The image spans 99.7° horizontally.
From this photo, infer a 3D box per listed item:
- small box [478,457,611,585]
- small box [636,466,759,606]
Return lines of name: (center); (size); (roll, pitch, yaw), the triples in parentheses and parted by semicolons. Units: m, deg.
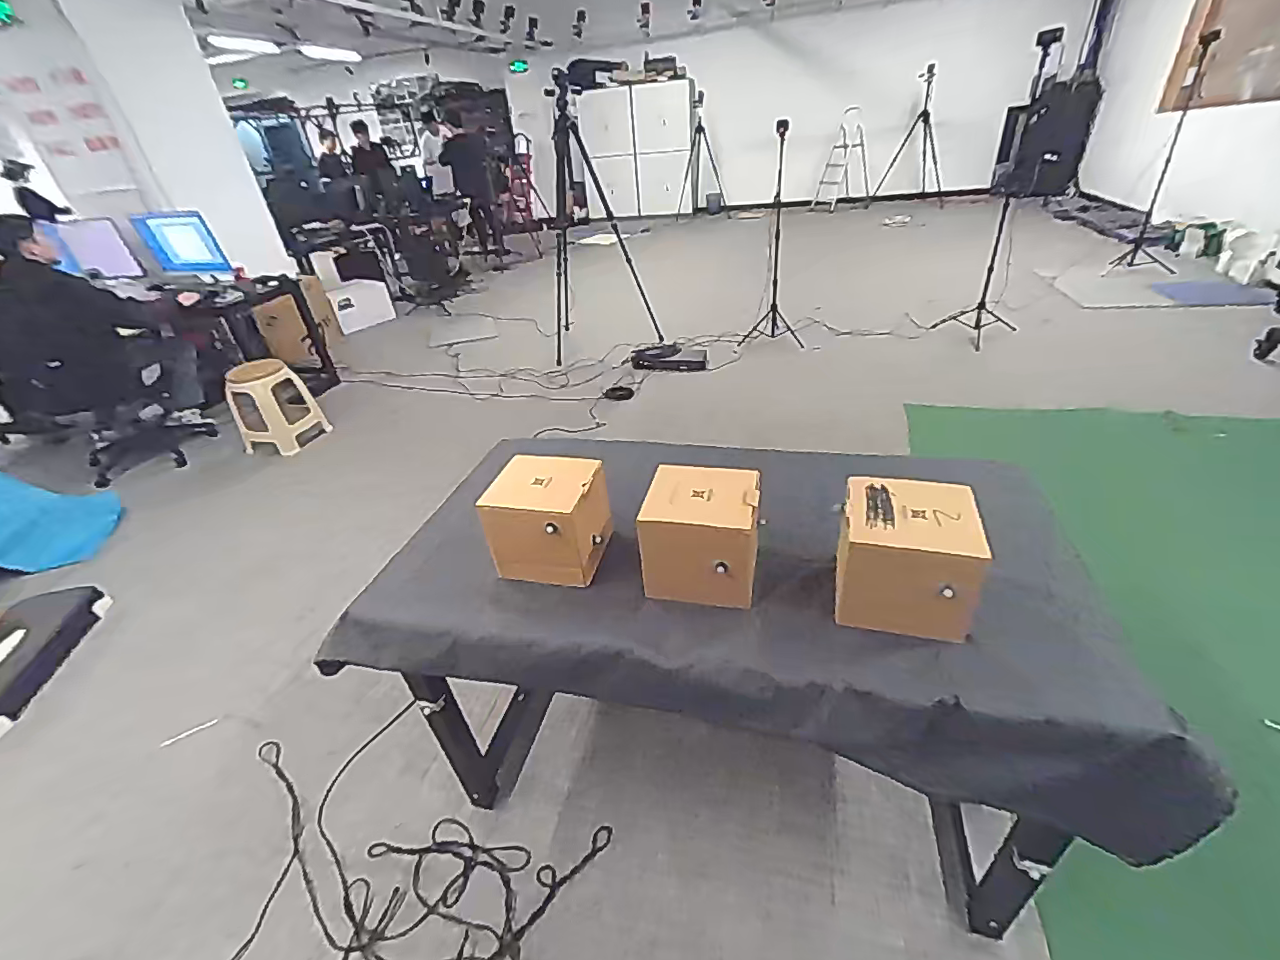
small box: (-0.163, 0.074, 0.987); (0.179, 0.176, 0.168); (3, 34, 14)
small box: (0.106, 0.092, 0.910); (0.179, 0.176, 0.168); (2, 33, 16)
